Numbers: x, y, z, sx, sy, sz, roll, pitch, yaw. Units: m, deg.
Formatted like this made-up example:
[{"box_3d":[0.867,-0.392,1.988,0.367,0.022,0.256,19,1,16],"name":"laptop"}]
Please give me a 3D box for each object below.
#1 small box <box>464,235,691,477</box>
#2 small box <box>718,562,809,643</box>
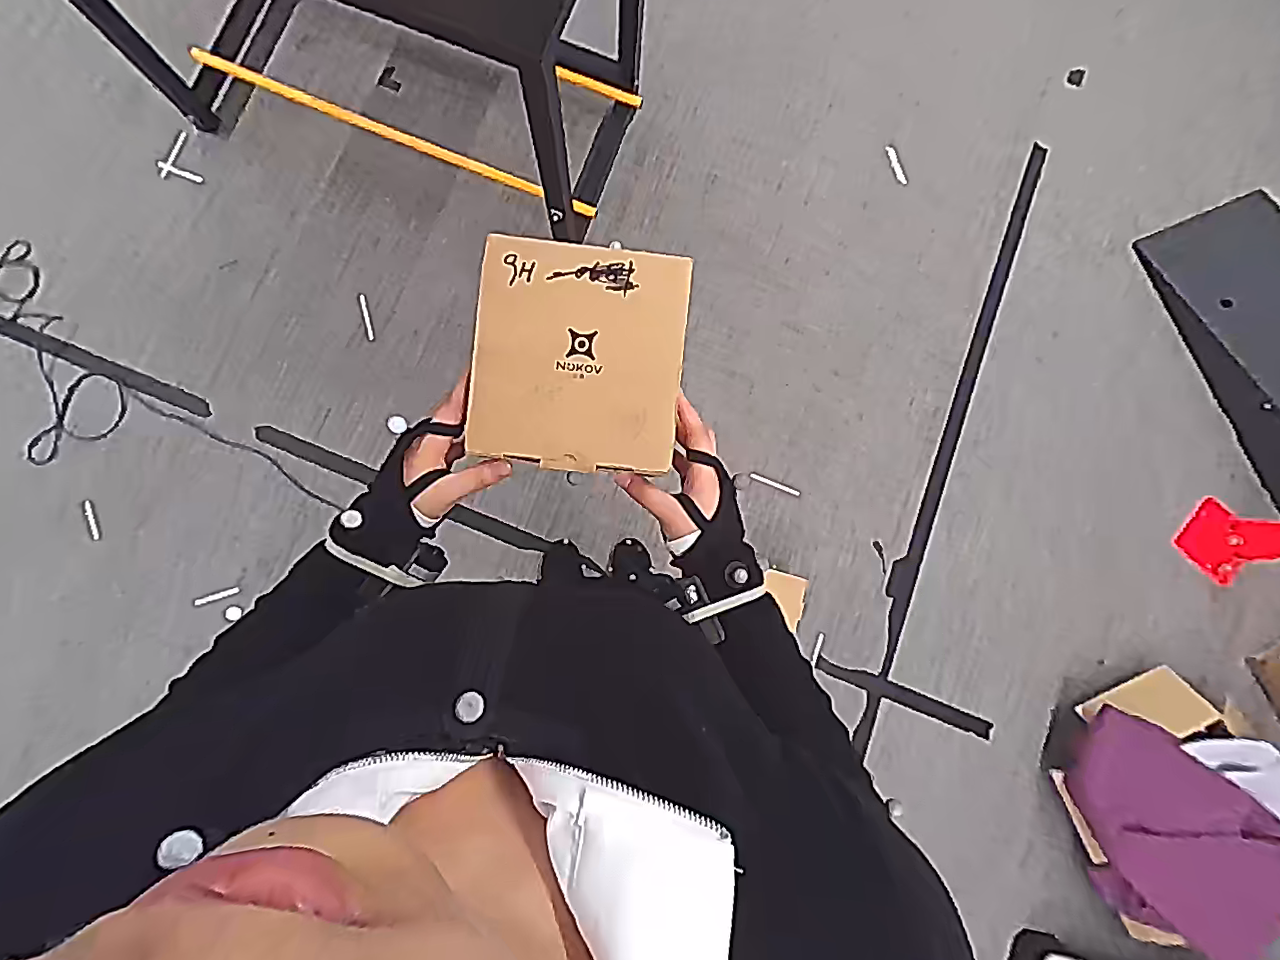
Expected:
[{"box_3d":[-0.050,-0.099,0.503,0.168,0.176,0.179,6,91,-2],"name":"small box"},{"box_3d":[0.320,0.317,1.432,0.179,0.176,0.168,15,82,1],"name":"small box"}]
